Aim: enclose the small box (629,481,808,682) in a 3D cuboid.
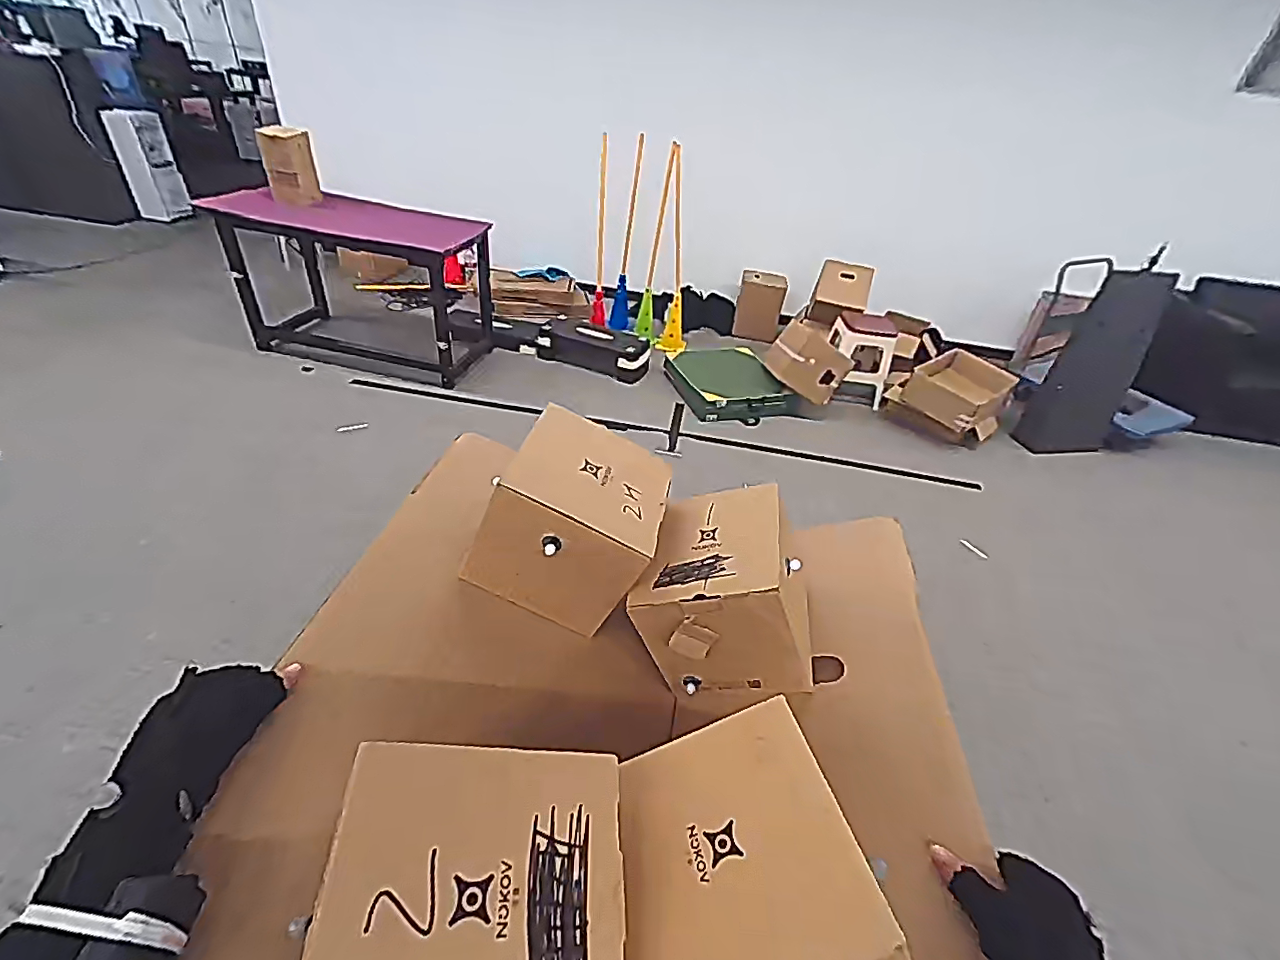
[{"bbox_3d":[0.106,0.130,0.662,0.168,0.176,0.179,-11,33,21],"label":"small box"}]
